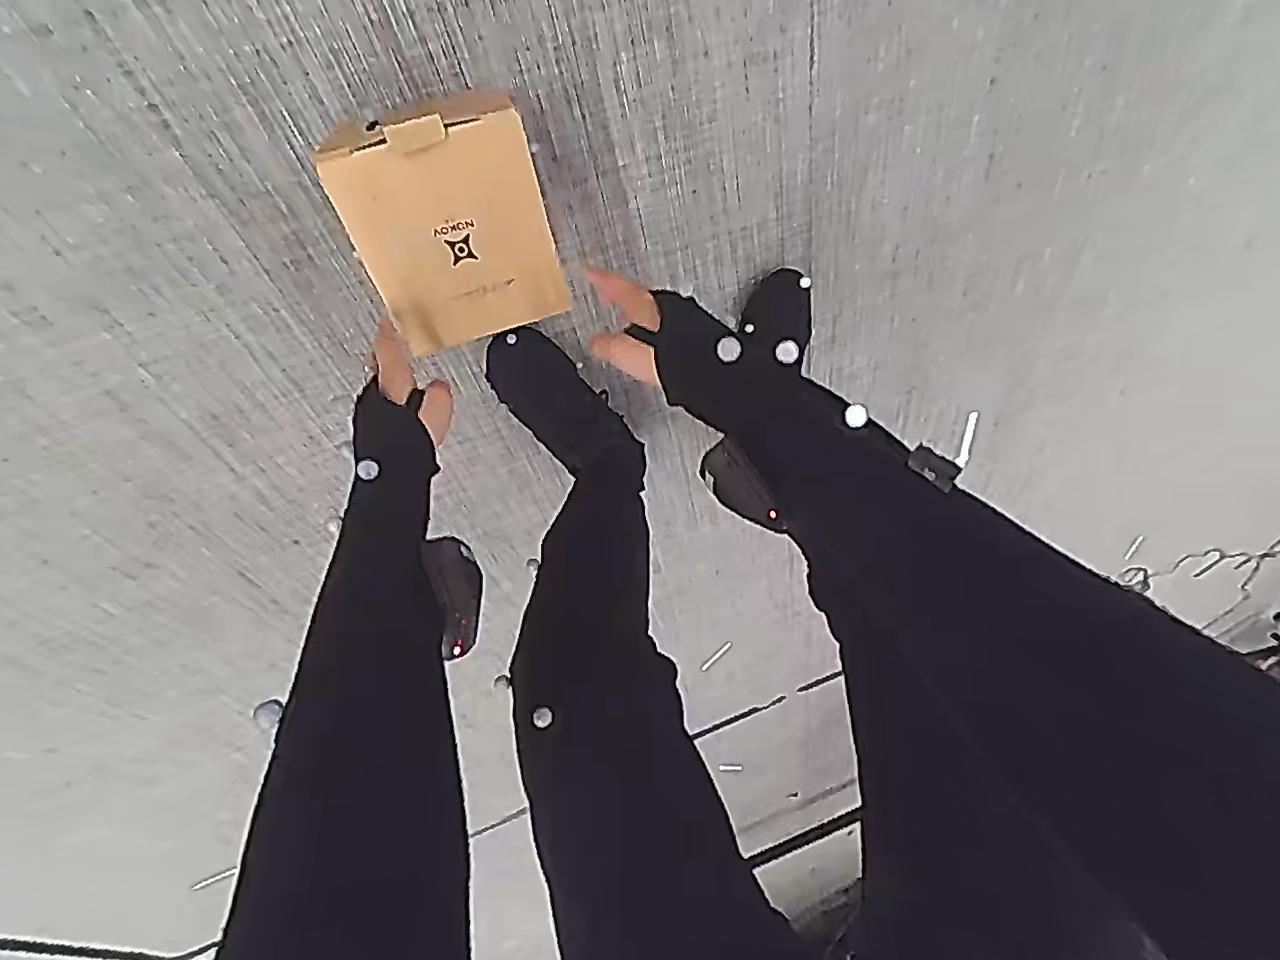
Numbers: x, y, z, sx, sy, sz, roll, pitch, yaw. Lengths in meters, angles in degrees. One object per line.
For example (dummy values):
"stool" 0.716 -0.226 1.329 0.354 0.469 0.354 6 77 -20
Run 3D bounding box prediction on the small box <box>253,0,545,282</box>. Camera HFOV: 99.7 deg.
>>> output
"small box" -0.200 -0.311 0.490 0.168 0.176 0.179 -18 134 -6
